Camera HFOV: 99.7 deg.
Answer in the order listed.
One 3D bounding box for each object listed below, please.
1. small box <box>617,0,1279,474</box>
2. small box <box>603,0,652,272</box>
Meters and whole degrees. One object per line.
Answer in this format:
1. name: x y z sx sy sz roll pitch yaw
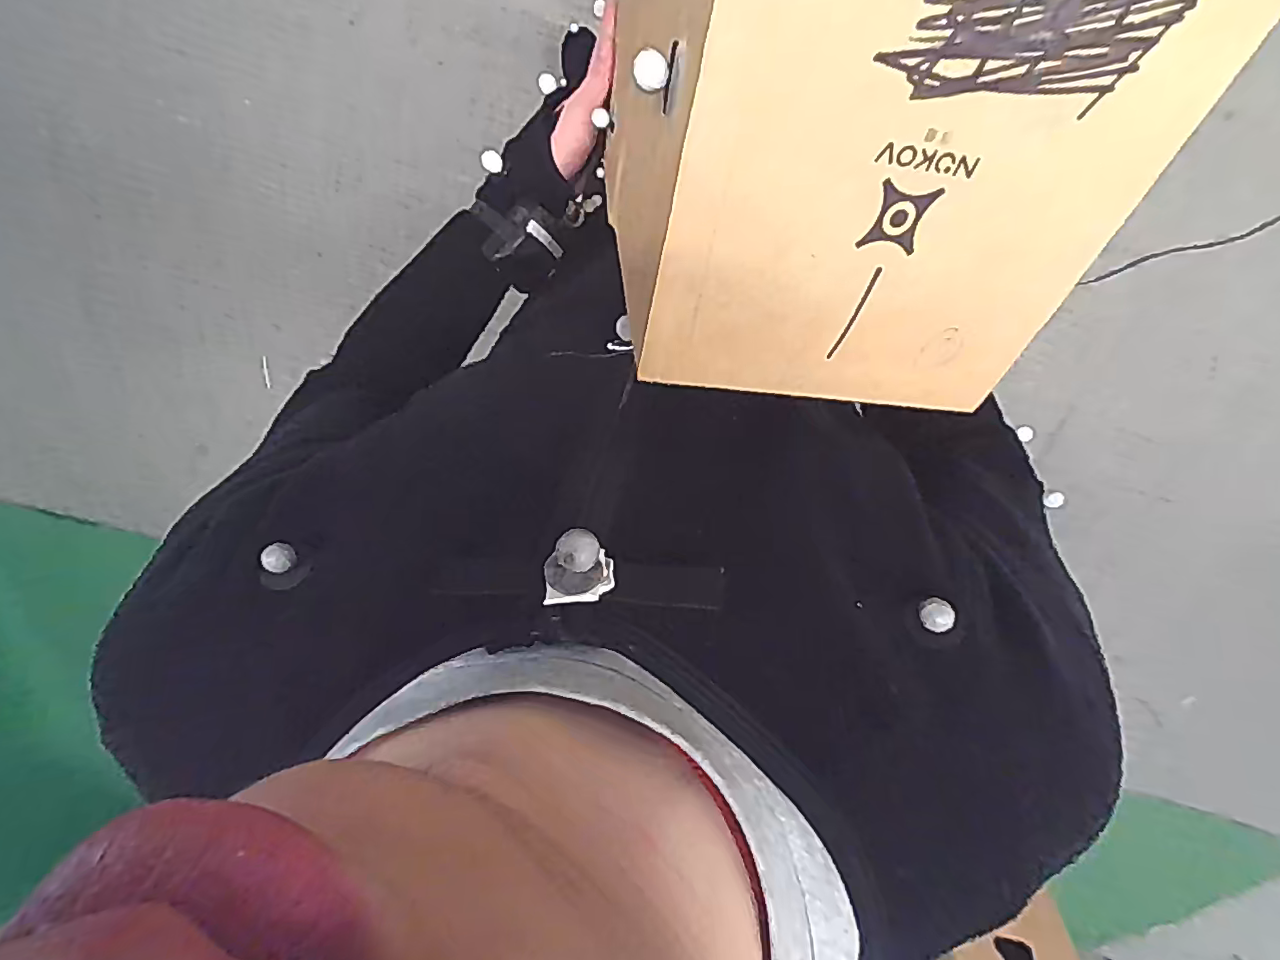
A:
1. small box: 0.083 -0.125 0.236 0.168 0.176 0.179 4 137 -10
2. small box: 0.067 -0.244 0.350 0.168 0.176 0.179 3 134 -10
